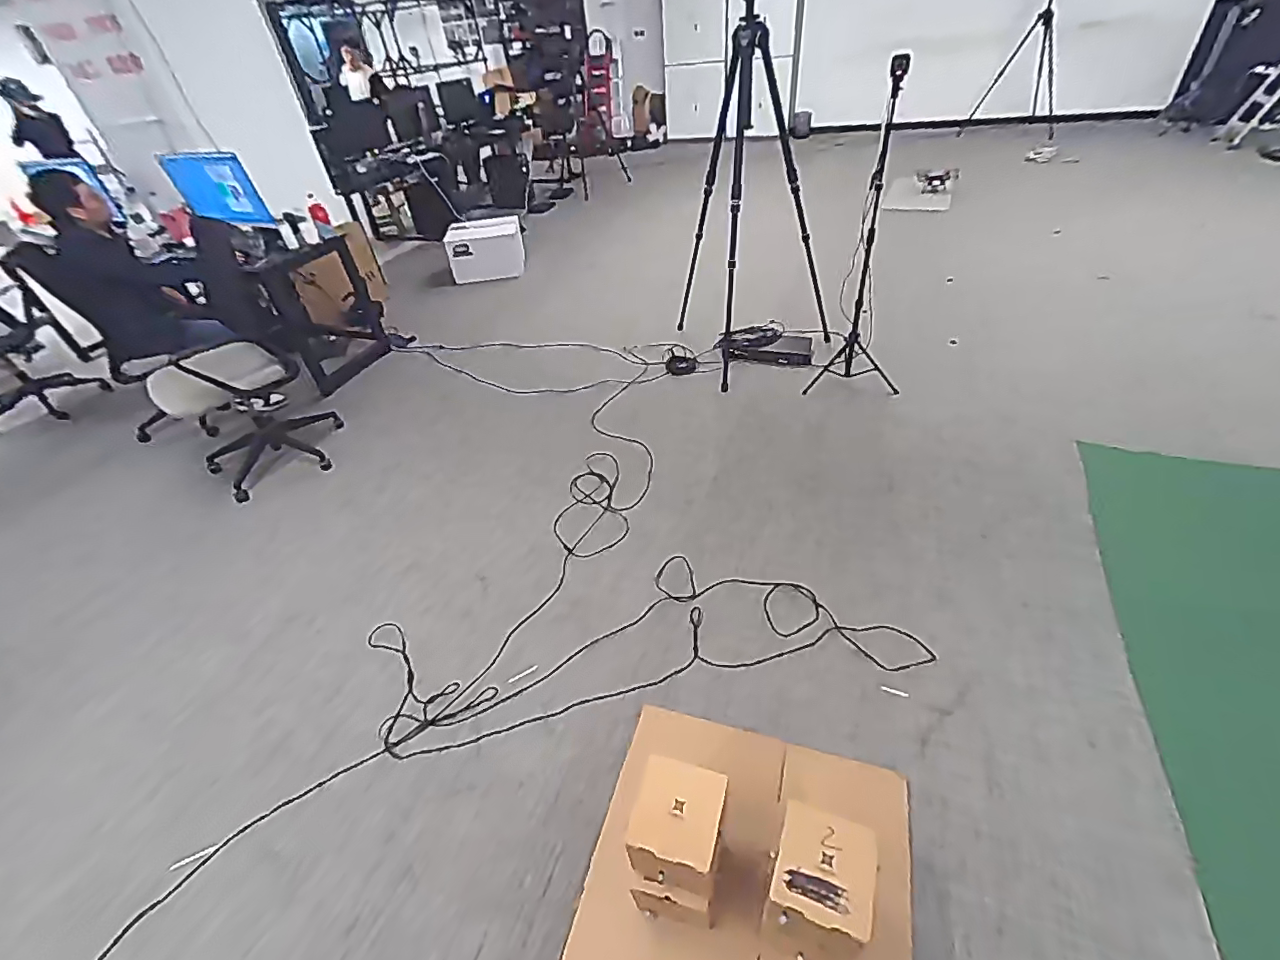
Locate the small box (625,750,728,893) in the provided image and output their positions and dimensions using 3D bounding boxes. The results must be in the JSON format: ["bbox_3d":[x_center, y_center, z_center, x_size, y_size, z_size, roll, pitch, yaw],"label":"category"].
[{"bbox_3d":[0.079,0.696,1.105,0.168,0.176,0.179,9,43,18],"label":"small box"}]

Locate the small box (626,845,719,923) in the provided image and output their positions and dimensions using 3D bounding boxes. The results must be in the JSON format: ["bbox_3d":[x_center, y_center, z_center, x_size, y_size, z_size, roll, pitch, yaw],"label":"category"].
[{"bbox_3d":[0.081,0.837,1.192,0.168,0.176,0.179,7,42,16],"label":"small box"}]

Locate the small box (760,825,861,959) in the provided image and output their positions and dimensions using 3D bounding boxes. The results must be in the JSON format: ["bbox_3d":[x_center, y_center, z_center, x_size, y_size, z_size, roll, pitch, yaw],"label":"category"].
[{"bbox_3d":[0.349,0.867,1.122,0.168,0.176,0.179,11,44,21],"label":"small box"}]
